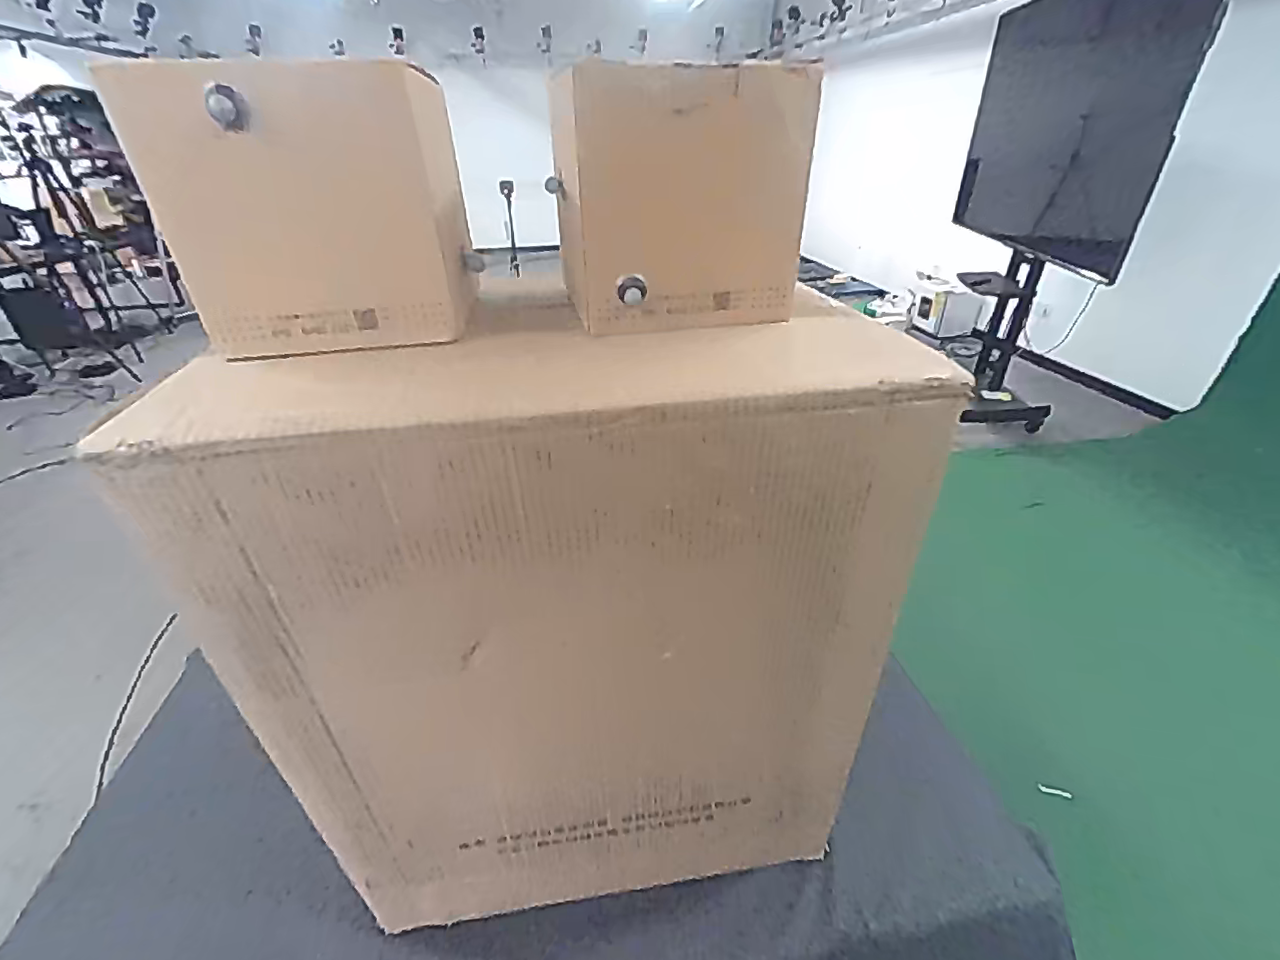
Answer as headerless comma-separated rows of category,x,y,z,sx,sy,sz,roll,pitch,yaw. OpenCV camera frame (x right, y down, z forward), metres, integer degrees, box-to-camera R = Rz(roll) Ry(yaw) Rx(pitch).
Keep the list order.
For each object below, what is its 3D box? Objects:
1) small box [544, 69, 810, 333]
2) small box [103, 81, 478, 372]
small box,0.018,-0.225,0.447,0.168,0.176,0.179,-8,33,-10
small box,-0.228,-0.194,0.419,0.168,0.176,0.179,-8,32,-6
